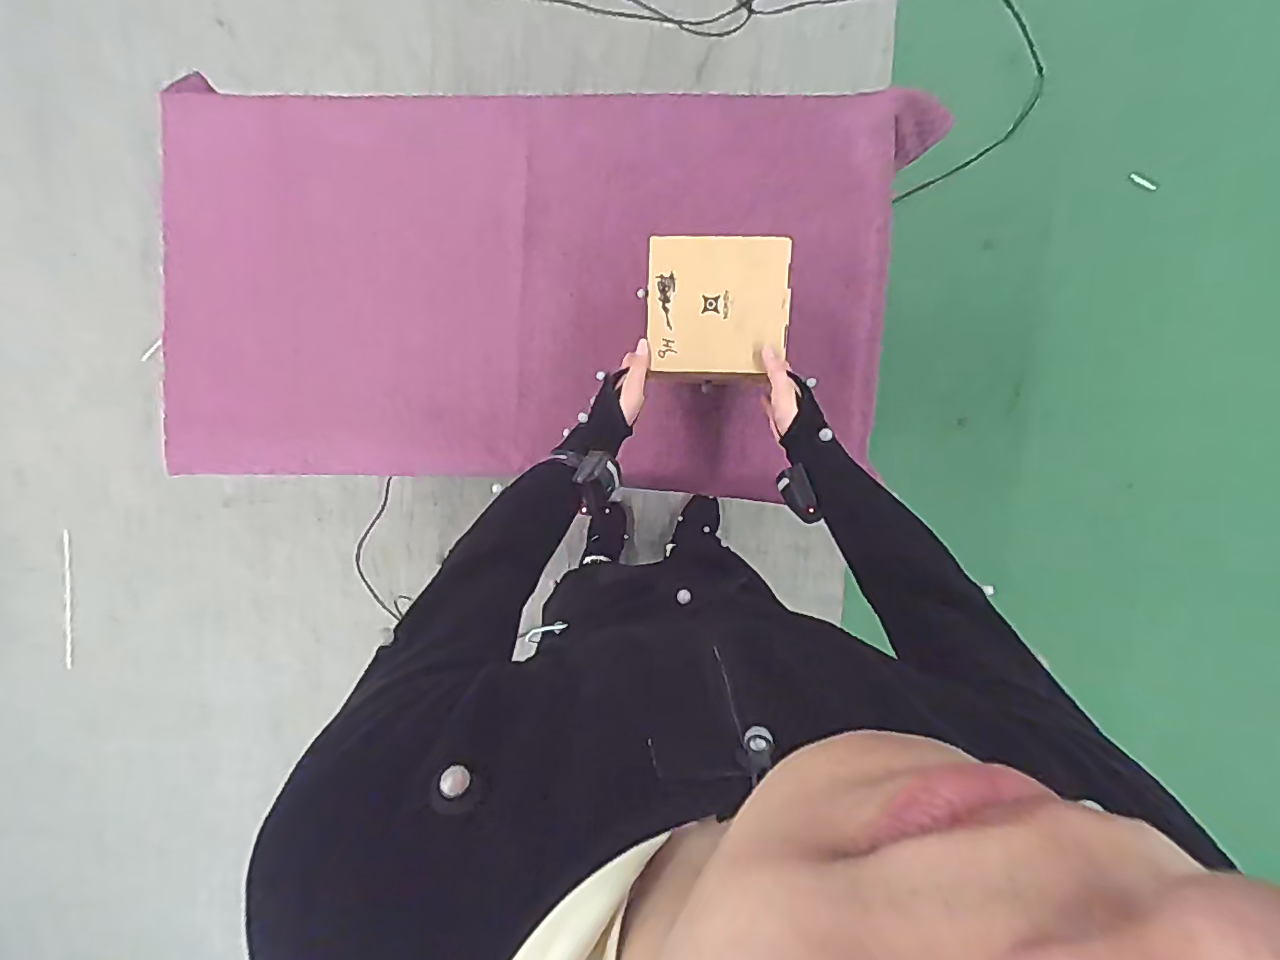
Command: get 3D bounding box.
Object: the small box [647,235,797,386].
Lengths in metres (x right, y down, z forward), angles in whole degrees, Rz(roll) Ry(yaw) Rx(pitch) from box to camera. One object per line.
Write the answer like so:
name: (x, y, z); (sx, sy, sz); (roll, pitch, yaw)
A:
small box: (0.101, -0.220, 0.739); (0.179, 0.176, 0.168); (2, 96, 2)
